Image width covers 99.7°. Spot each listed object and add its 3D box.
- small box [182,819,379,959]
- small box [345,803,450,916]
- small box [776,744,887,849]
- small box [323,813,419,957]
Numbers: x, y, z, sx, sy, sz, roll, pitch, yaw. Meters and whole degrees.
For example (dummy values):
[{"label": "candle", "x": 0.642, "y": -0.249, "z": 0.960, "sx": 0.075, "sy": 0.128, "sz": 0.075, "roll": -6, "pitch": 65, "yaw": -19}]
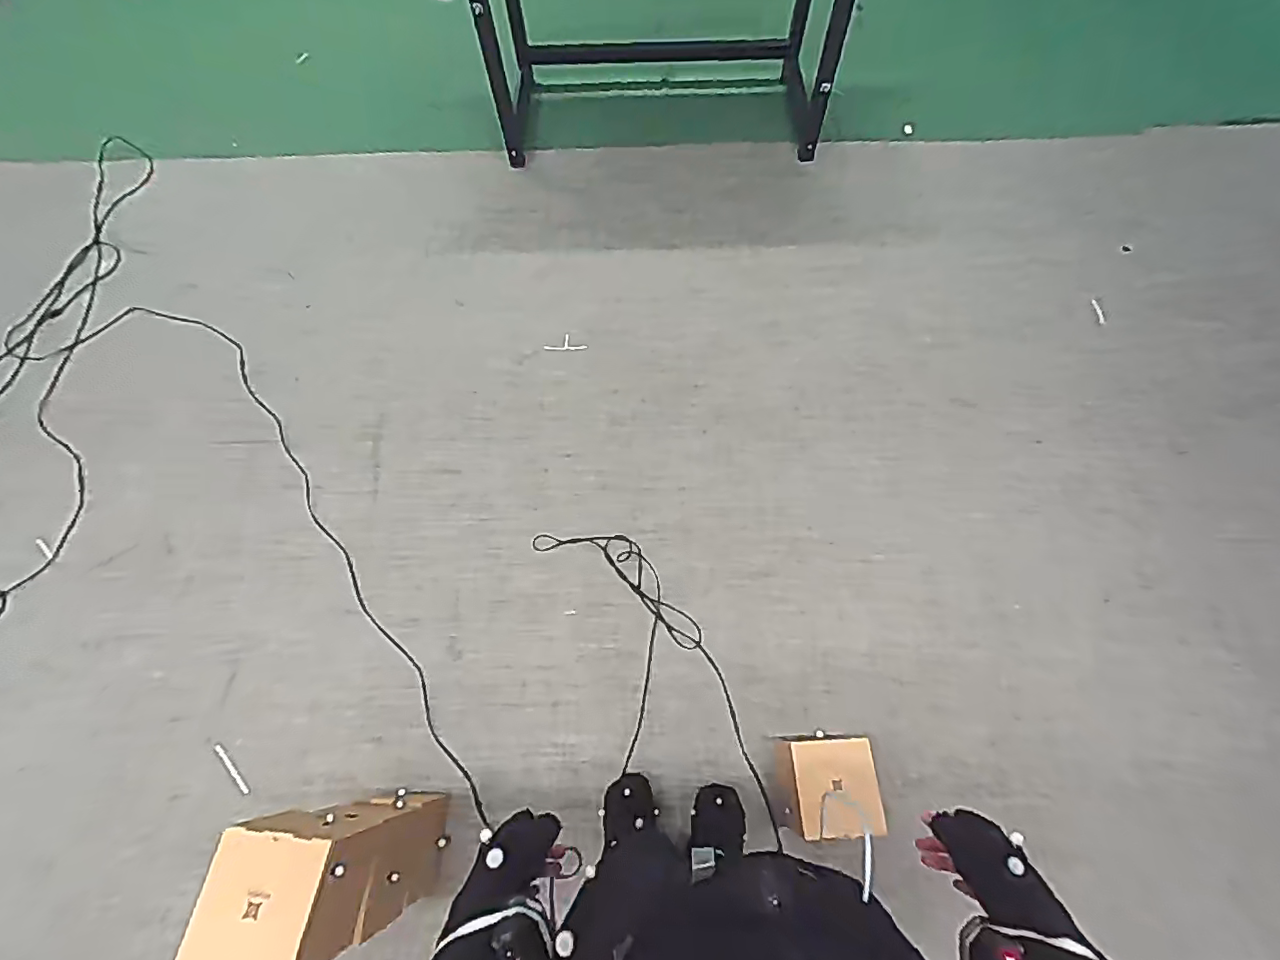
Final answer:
[{"label": "small box", "x": -0.530, "y": 0.639, "z": 0.823, "sx": 0.168, "sy": 0.176, "sz": 0.179, "roll": 6, "pitch": 65, "yaw": 4}, {"label": "small box", "x": -0.509, "y": 0.777, "z": 1.122, "sx": 0.168, "sy": 0.176, "sz": 0.179, "roll": -3, "pitch": 63, "yaw": 3}, {"label": "small box", "x": 0.398, "y": 0.666, "z": 1.154, "sx": 0.168, "sy": 0.176, "sz": 0.179, "roll": -2, "pitch": 65, "yaw": -1}, {"label": "small box", "x": -0.518, "y": 0.710, "z": 0.969, "sx": 0.168, "sy": 0.176, "sz": 0.179, "roll": 1, "pitch": 66, "yaw": 2}]
